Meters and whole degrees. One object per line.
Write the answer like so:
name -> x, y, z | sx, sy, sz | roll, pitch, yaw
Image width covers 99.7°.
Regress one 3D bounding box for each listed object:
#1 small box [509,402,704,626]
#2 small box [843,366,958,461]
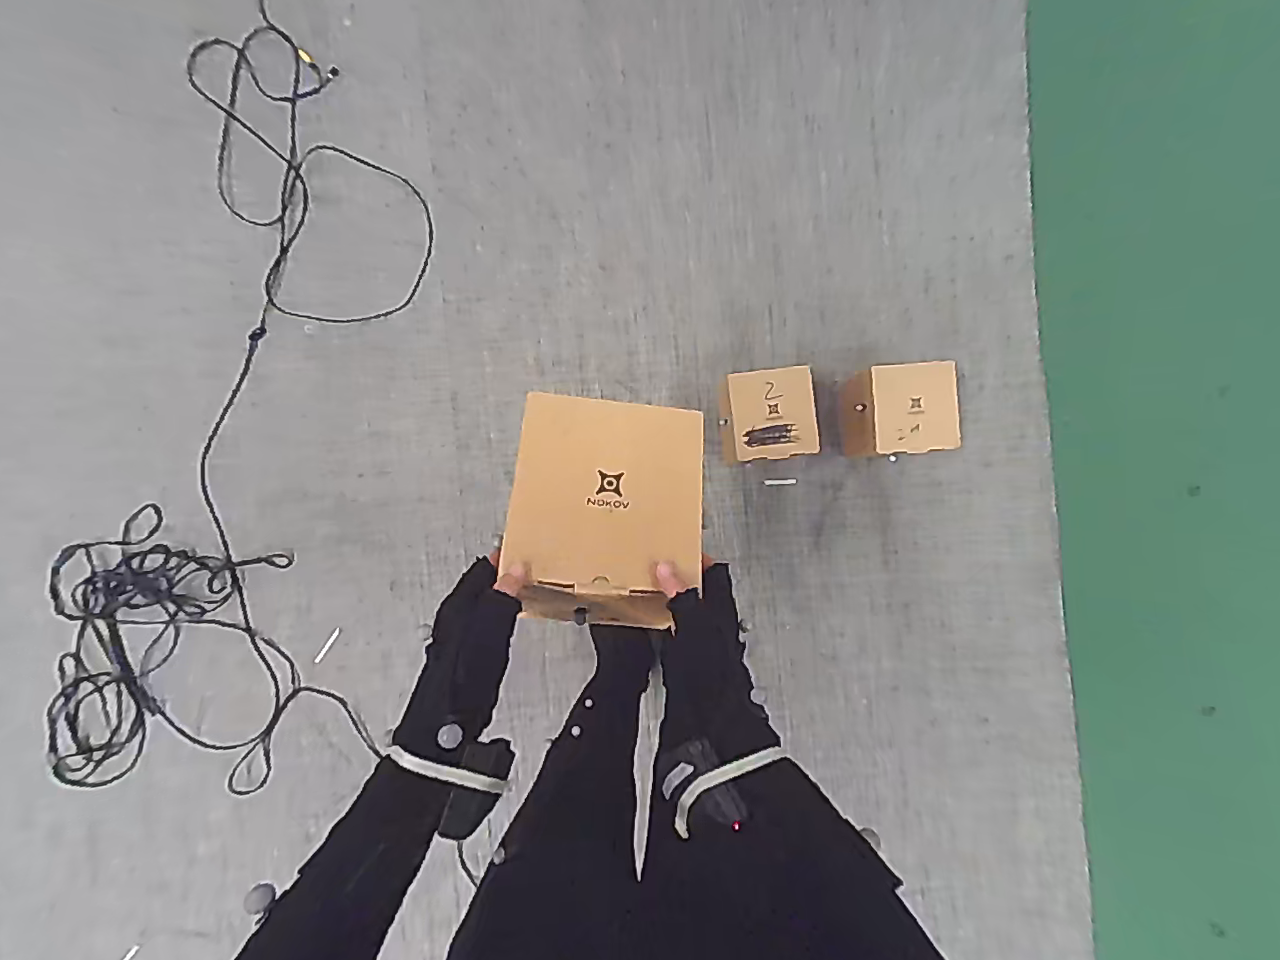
small box -> -0.033, 0.043, 0.554 | 0.168, 0.176, 0.179 | 5, 67, -5
small box -> 0.541, -0.134, 1.144 | 0.168, 0.176, 0.179 | -4, 90, 2
